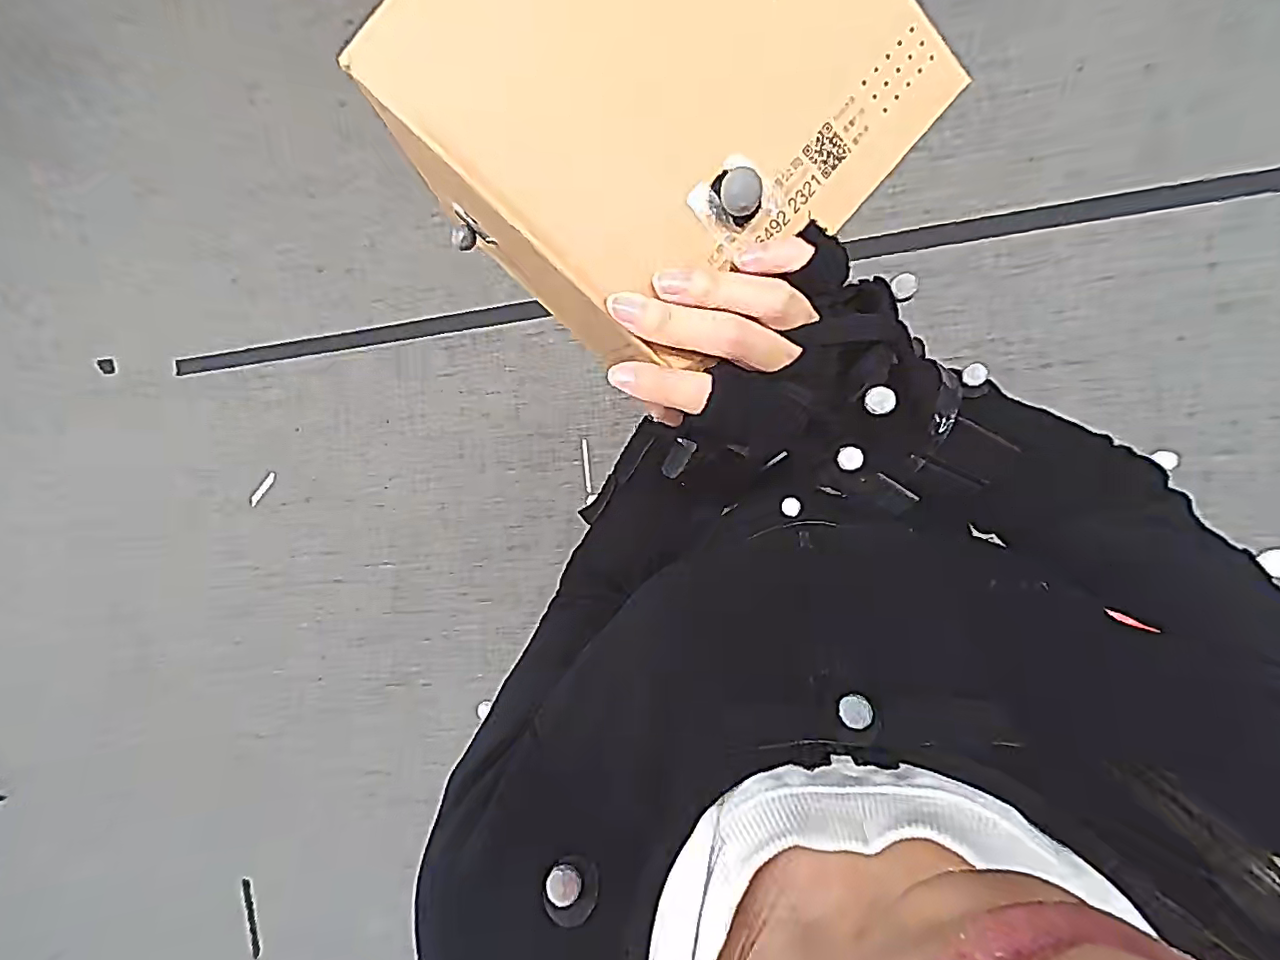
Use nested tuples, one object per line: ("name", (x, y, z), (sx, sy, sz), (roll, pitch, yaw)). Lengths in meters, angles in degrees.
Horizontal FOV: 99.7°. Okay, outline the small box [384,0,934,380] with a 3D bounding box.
("small box", (0.006, -0.170, 0.295), (0.176, 0.179, 0.168), (40, 93, -15))
